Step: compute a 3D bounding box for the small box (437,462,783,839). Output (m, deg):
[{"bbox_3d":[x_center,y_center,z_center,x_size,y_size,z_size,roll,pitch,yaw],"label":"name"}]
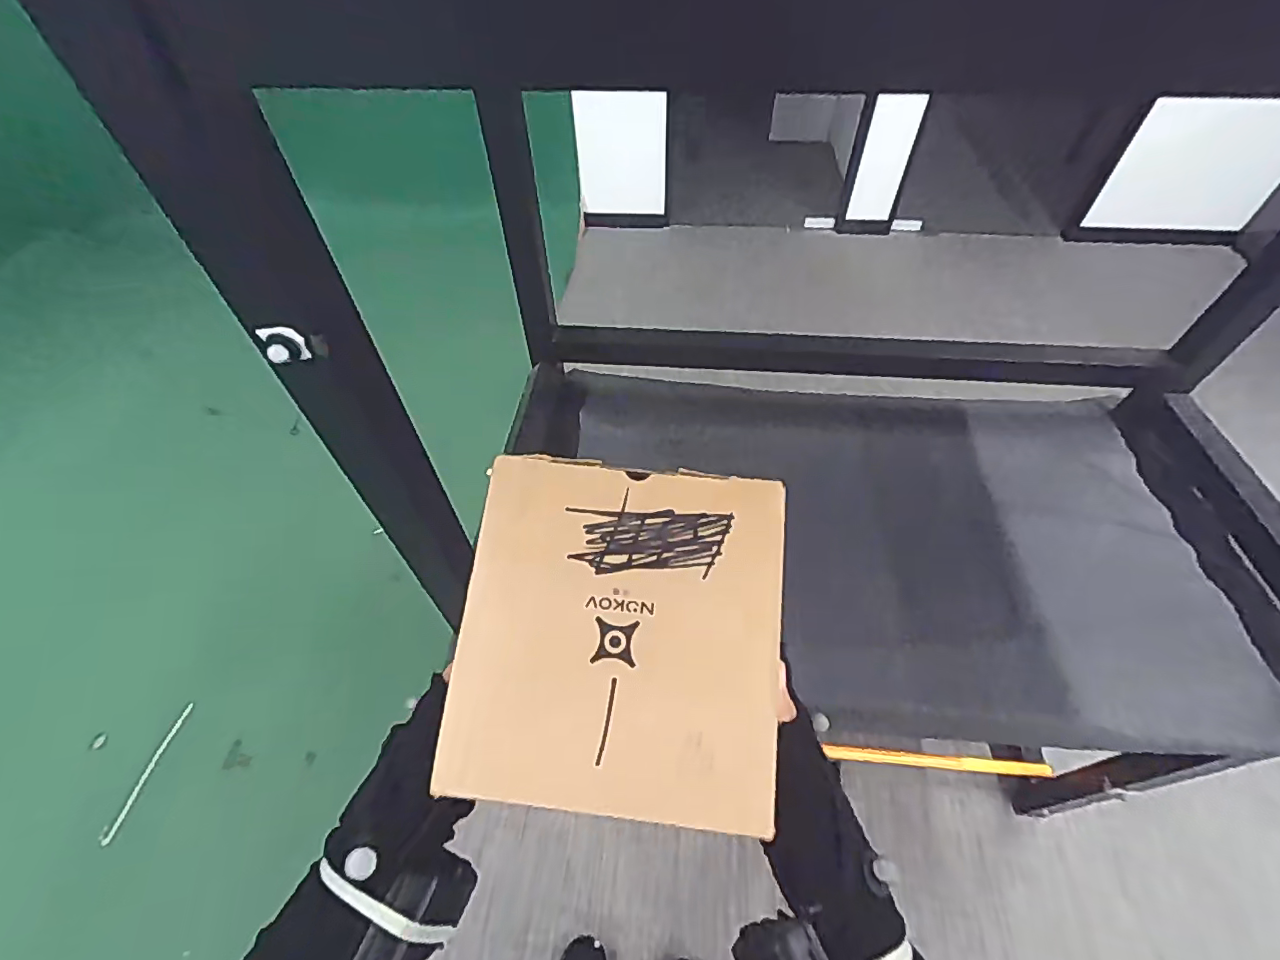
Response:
[{"bbox_3d":[-0.008,0.104,0.361,0.168,0.176,0.179,6,73,4],"label":"small box"}]
